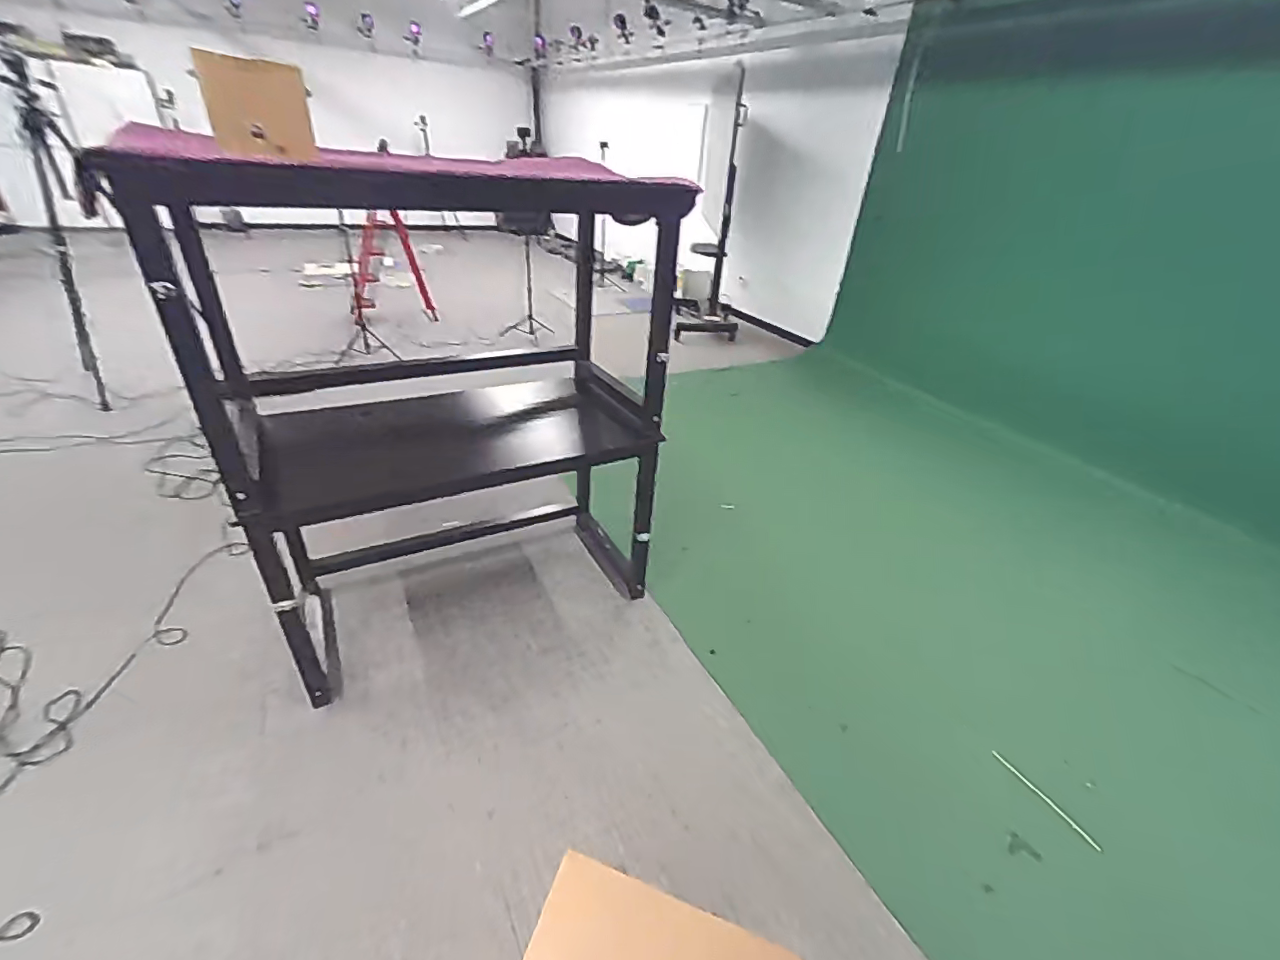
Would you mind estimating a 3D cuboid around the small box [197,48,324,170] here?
[{"bbox_3d":[-0.732,-0.712,1.053,0.168,0.176,0.179,-14,35,-30],"label":"small box"}]
